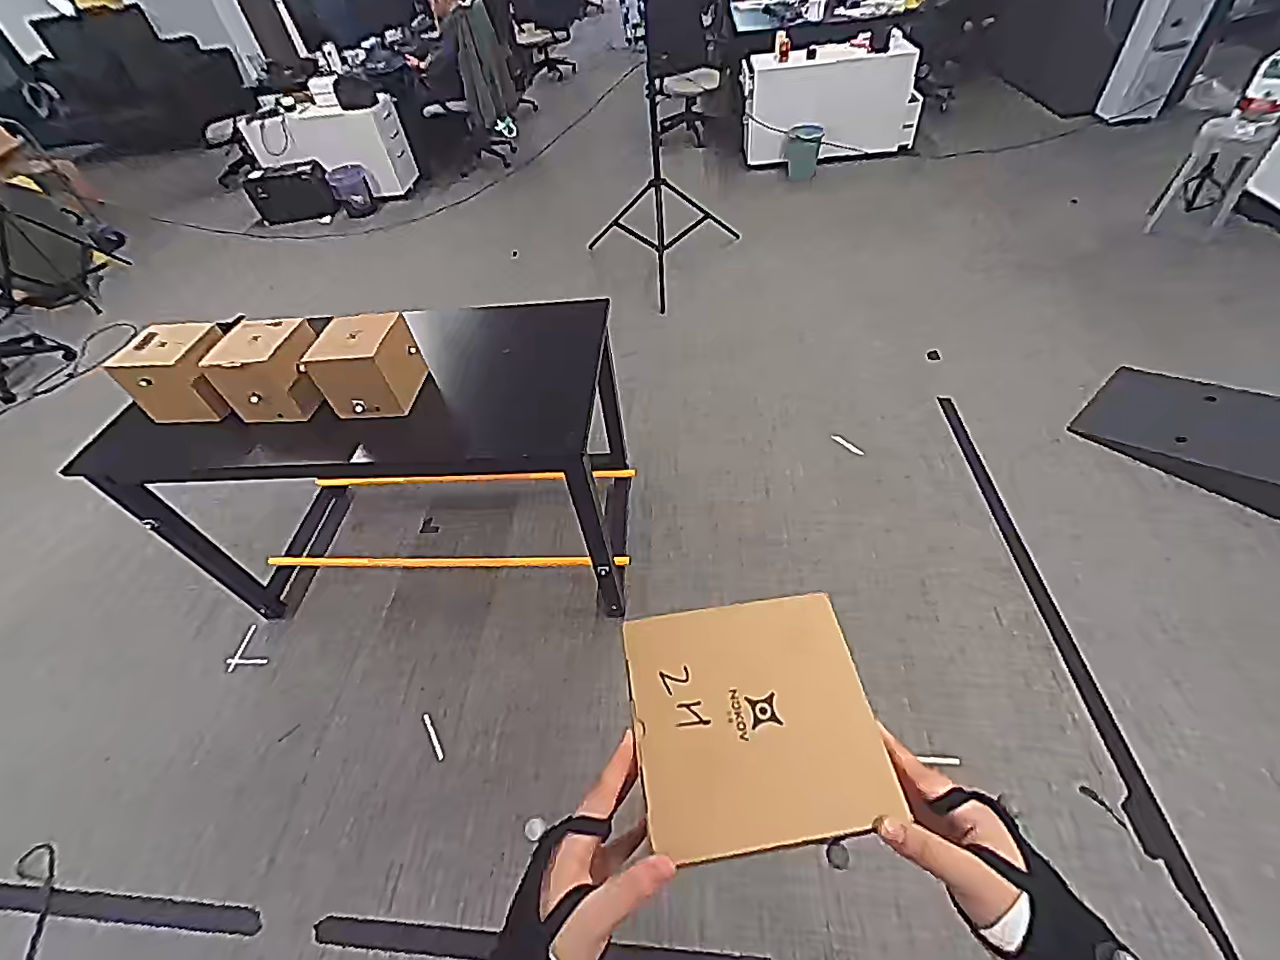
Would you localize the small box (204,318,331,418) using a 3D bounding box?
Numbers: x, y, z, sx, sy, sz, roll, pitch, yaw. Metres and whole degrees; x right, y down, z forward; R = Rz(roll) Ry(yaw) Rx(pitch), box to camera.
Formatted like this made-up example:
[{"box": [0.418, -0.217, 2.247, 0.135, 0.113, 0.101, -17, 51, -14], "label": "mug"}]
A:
[{"box": [-0.848, -0.258, 1.268, 0.168, 0.176, 0.179, -1, 49, 6], "label": "small box"}]

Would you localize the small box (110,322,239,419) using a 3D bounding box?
[{"box": [-1.078, -0.260, 1.298, 0.179, 0.176, 0.168, -1, 49, 6], "label": "small box"}]

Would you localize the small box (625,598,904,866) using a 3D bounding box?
[{"box": [0.083, 0.220, 0.466, 0.179, 0.176, 0.168, -7, 54, -4], "label": "small box"}]

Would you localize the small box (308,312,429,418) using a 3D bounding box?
[{"box": [-0.610, -0.263, 1.245, 0.168, 0.176, 0.179, -3, 49, 6], "label": "small box"}]
